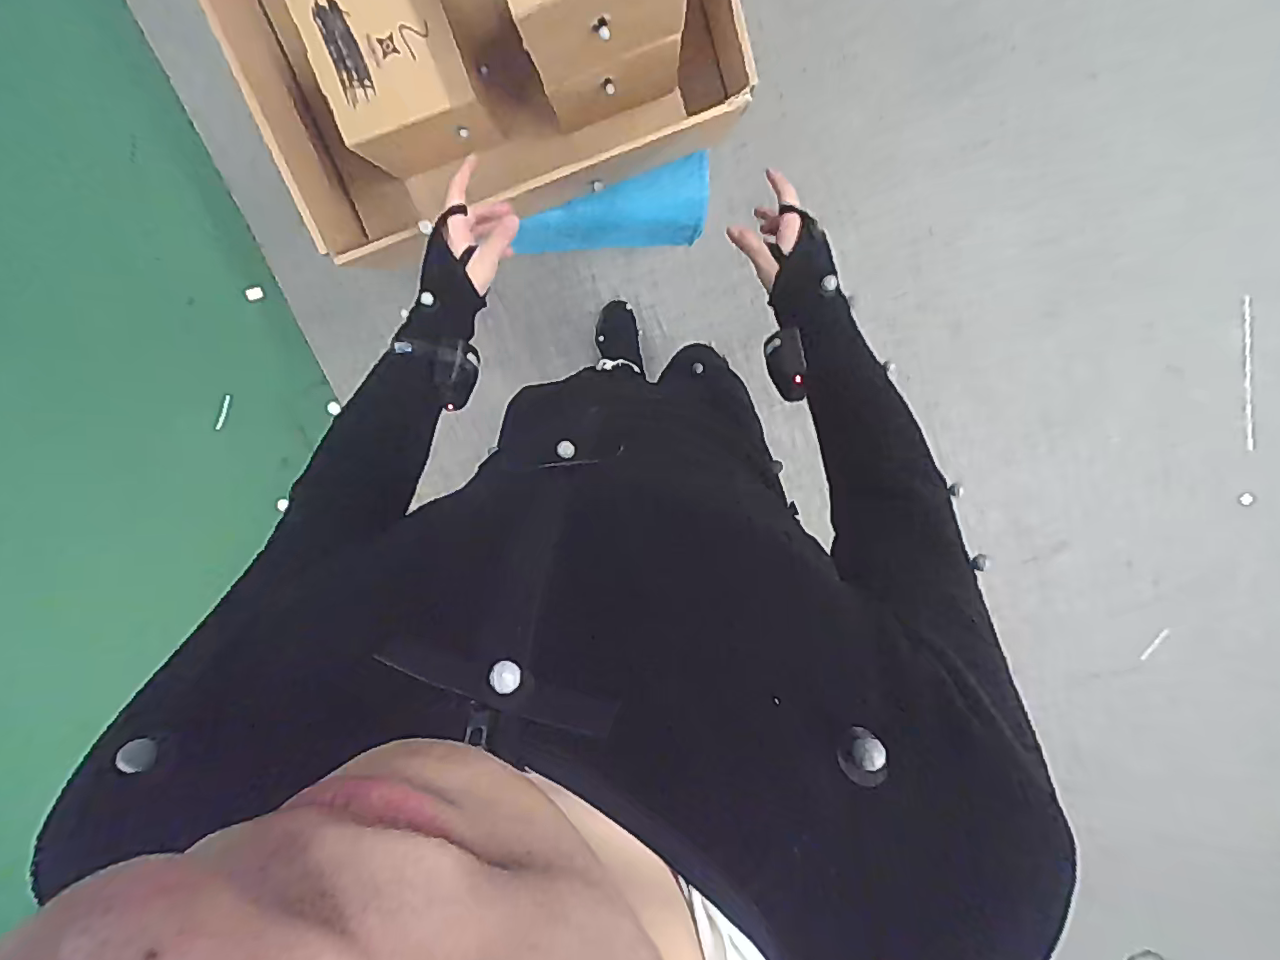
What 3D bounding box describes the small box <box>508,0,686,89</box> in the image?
[{"bbox_3d":[-0.055,-0.536,0.535,0.179,0.176,0.168,-18,105,8],"label":"small box"}]
